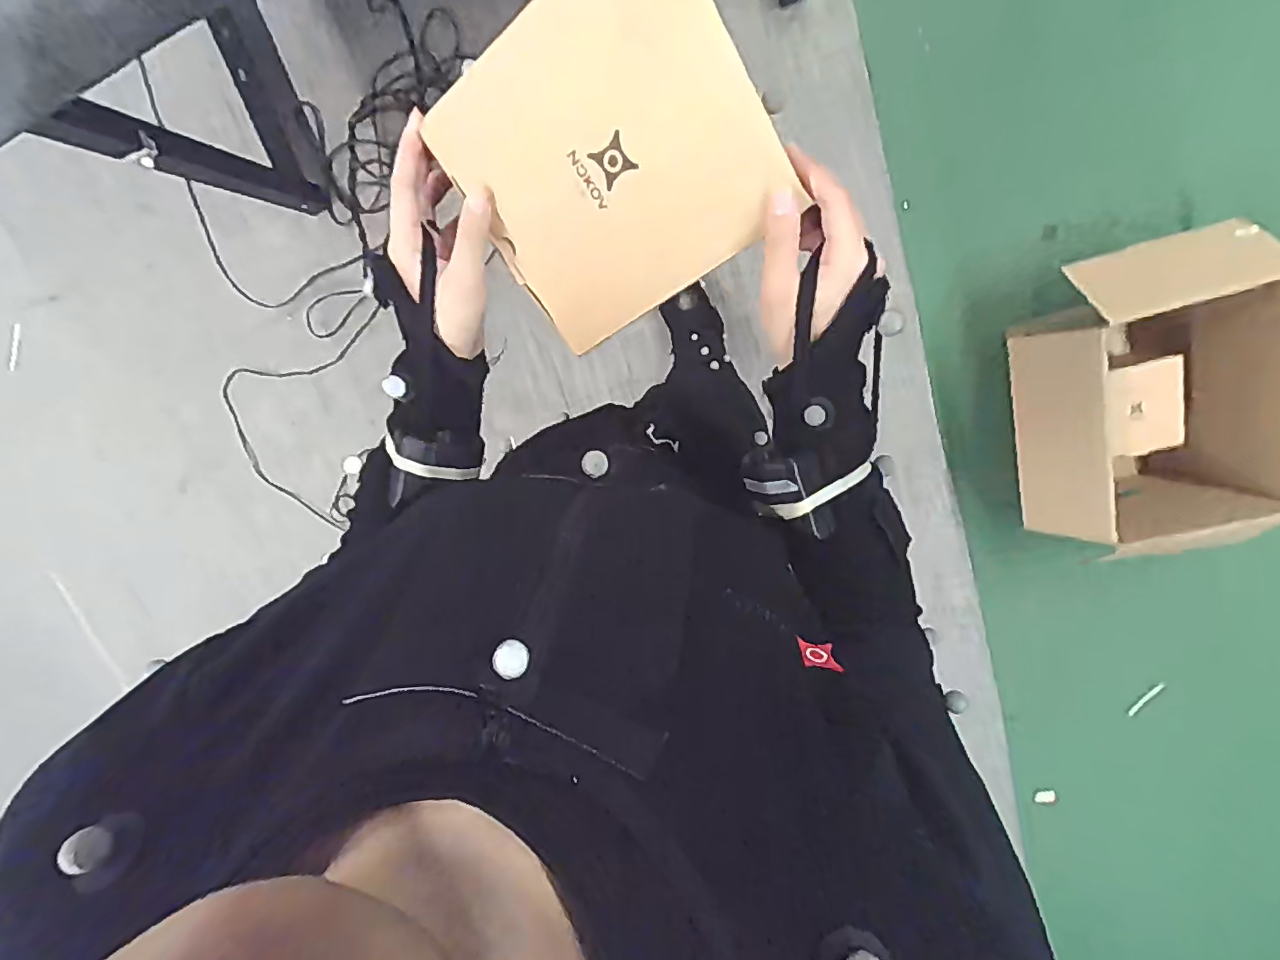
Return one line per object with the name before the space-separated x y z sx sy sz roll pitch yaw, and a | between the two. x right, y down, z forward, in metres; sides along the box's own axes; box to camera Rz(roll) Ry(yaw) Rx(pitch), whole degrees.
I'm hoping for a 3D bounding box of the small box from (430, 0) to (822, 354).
small box | 0.003 -0.222 0.375 0.179 0.176 0.168 -26 112 26
